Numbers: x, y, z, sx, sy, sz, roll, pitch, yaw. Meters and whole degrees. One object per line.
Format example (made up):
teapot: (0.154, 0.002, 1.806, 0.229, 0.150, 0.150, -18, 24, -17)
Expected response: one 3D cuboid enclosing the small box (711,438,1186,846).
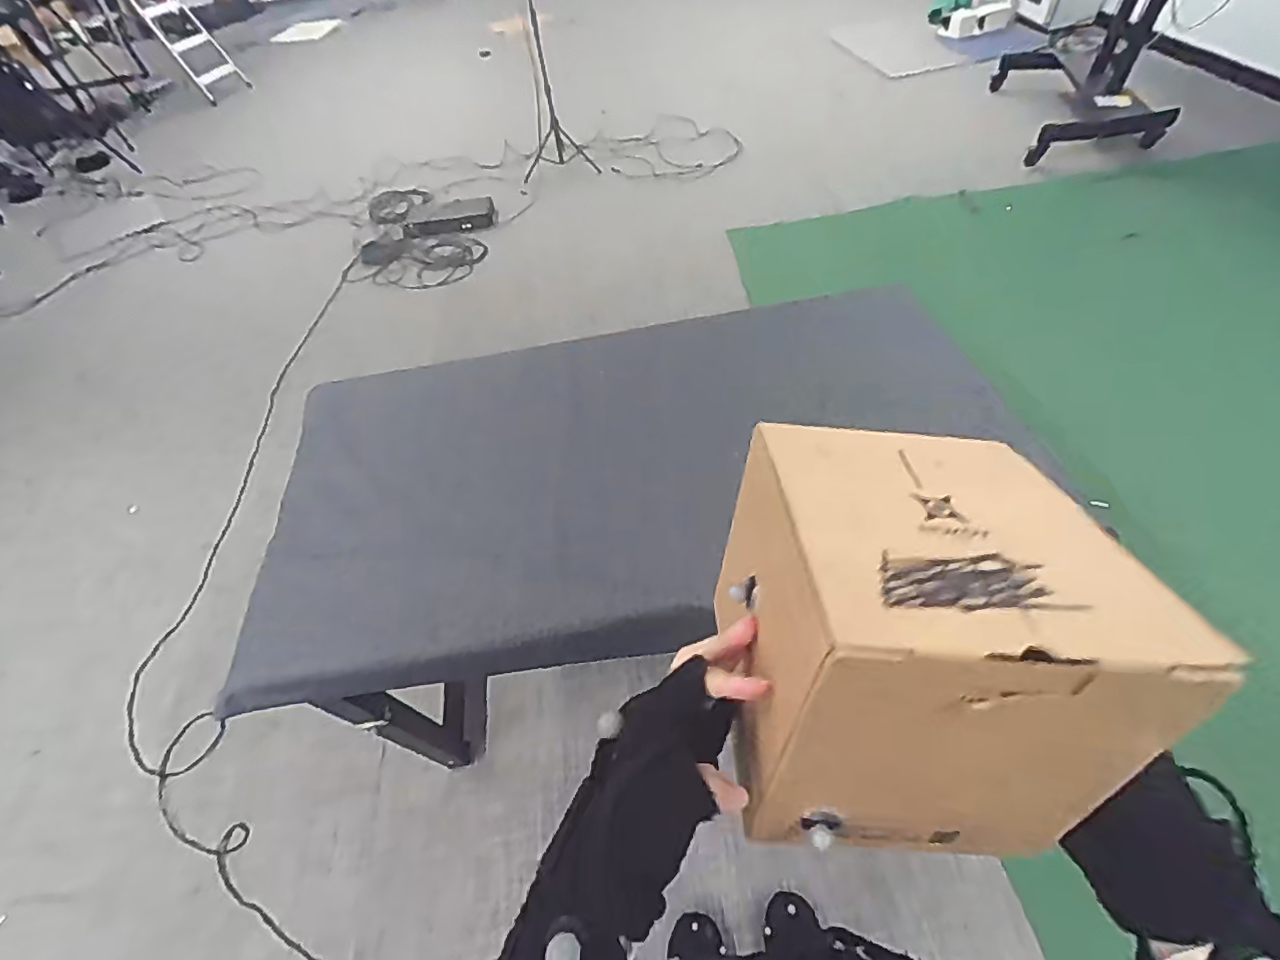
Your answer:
small box: (0.142, 0.096, 0.334, 0.168, 0.176, 0.179, 6, 35, -2)
